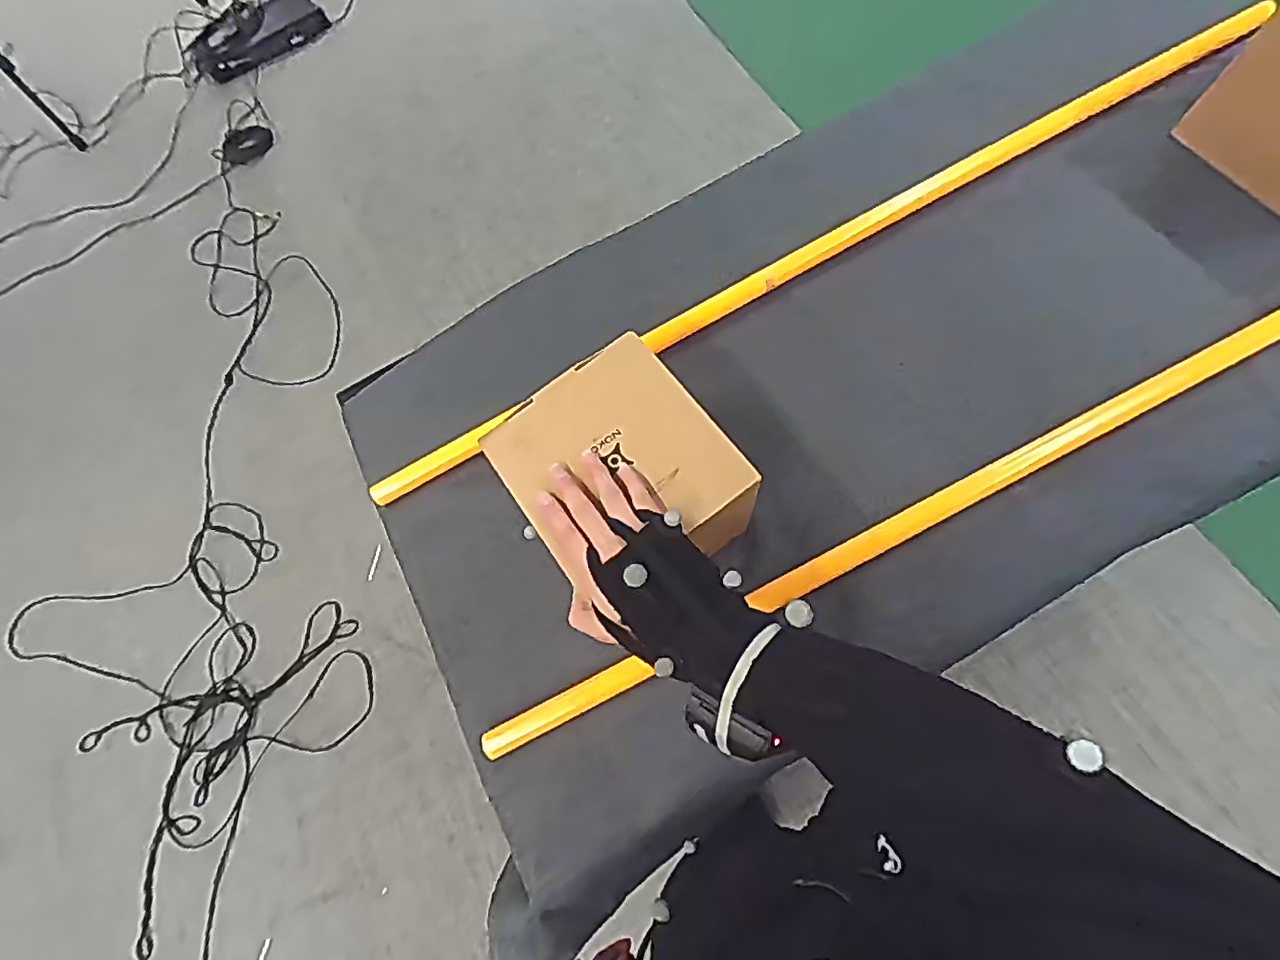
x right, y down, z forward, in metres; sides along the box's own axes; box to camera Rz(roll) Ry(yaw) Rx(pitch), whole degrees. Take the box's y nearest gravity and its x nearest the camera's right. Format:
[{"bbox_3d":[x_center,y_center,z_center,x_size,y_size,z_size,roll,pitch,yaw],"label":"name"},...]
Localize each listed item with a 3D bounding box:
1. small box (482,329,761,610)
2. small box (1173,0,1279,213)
[{"bbox_3d":[-0.011,0.004,0.508,0.168,0.176,0.179,-37,71,-4],"label":"small box"},{"bbox_3d":[0.715,-0.399,0.532,0.168,0.176,0.179,-29,70,-1],"label":"small box"}]
